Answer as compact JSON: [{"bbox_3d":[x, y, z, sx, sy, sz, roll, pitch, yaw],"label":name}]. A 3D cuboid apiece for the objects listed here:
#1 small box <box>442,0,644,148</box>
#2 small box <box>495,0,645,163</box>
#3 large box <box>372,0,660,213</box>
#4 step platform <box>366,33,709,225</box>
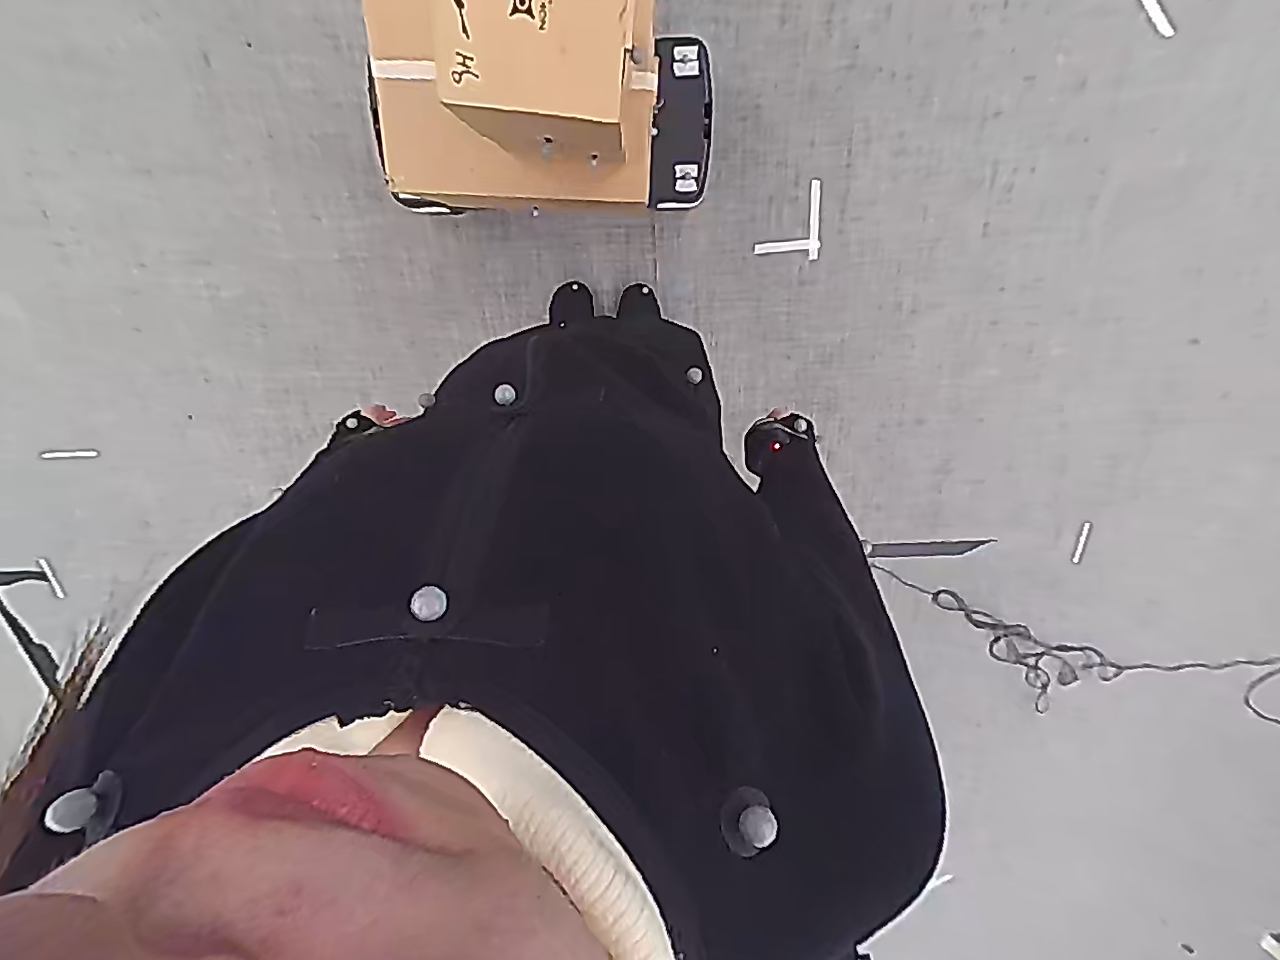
[{"bbox_3d":[-0.088,-0.451,0.546,0.179,0.176,0.168,5,111,-4],"label":"small box"},{"bbox_3d":[-0.088,-0.518,0.696,0.179,0.176,0.168,4,112,-2],"label":"small box"},{"bbox_3d":[-0.170,-0.632,0.913,0.408,0.320,0.320,2,111,0],"label":"large box"},{"bbox_3d":[-0.199,-0.719,1.134,0.684,0.204,0.286,4,112,-1],"label":"step platform"}]
